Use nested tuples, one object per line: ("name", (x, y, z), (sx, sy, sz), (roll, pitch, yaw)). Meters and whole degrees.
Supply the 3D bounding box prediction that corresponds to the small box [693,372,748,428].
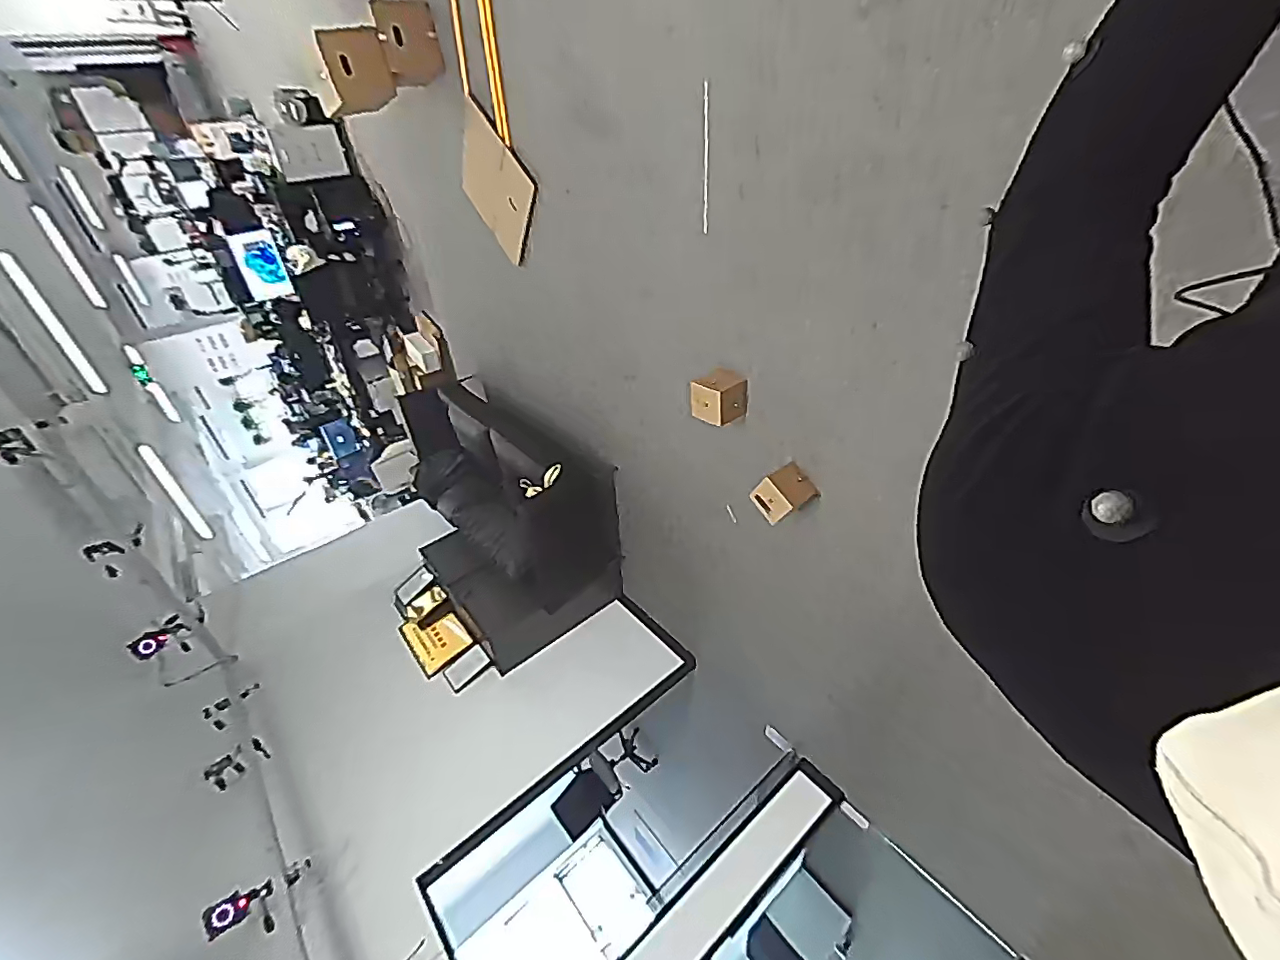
("small box", (0.349, -0.352, 2.333), (0.179, 0.176, 0.168), (31, 138, 42))
